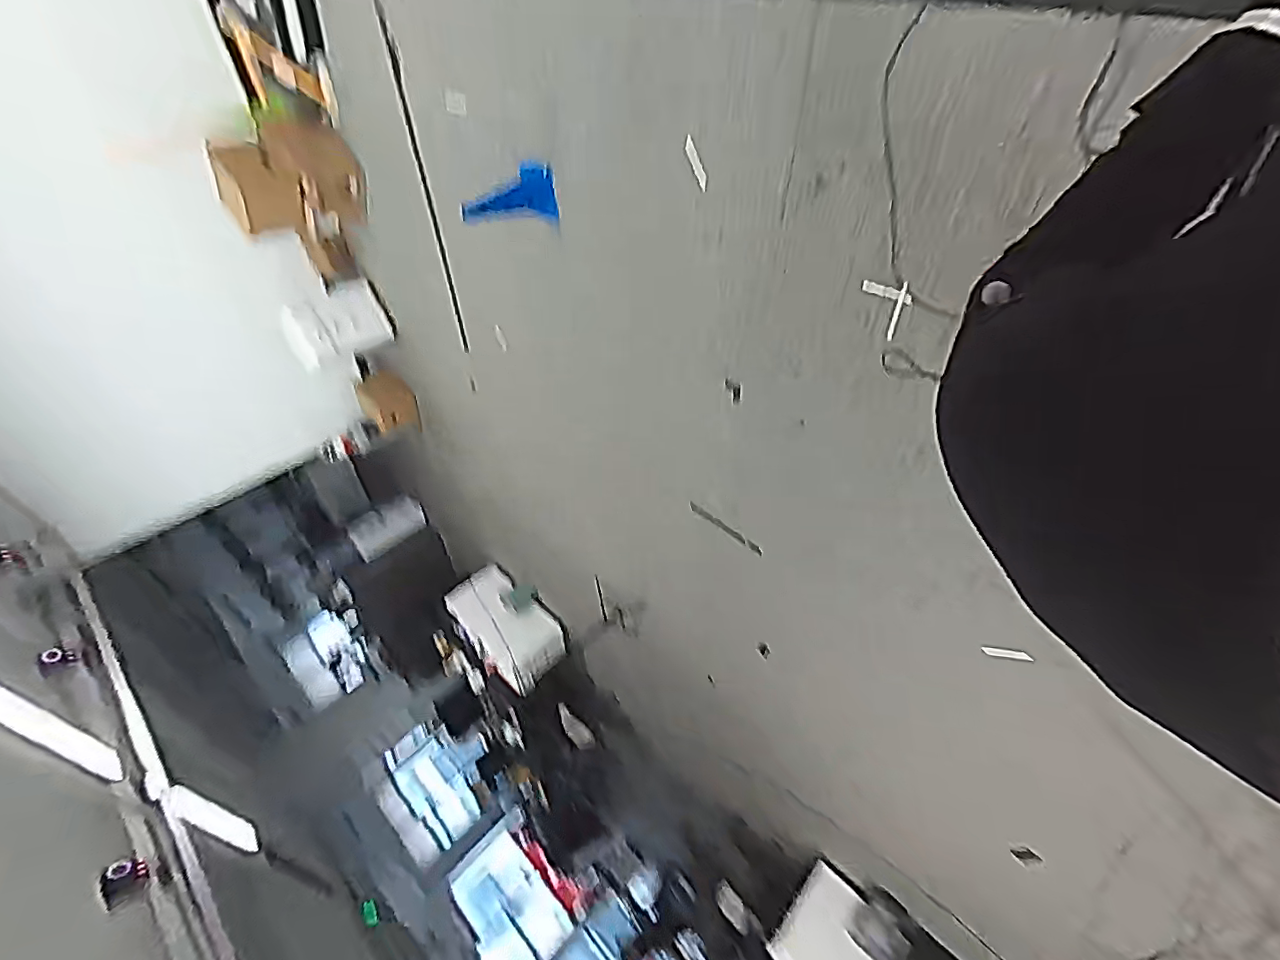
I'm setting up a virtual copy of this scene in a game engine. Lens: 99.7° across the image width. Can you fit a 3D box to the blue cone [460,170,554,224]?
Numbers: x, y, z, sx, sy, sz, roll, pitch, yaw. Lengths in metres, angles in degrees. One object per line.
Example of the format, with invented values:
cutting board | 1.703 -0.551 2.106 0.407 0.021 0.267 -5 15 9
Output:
blue cone | -0.528 -1.059 2.094 0.193 0.380 0.192 29 140 34
